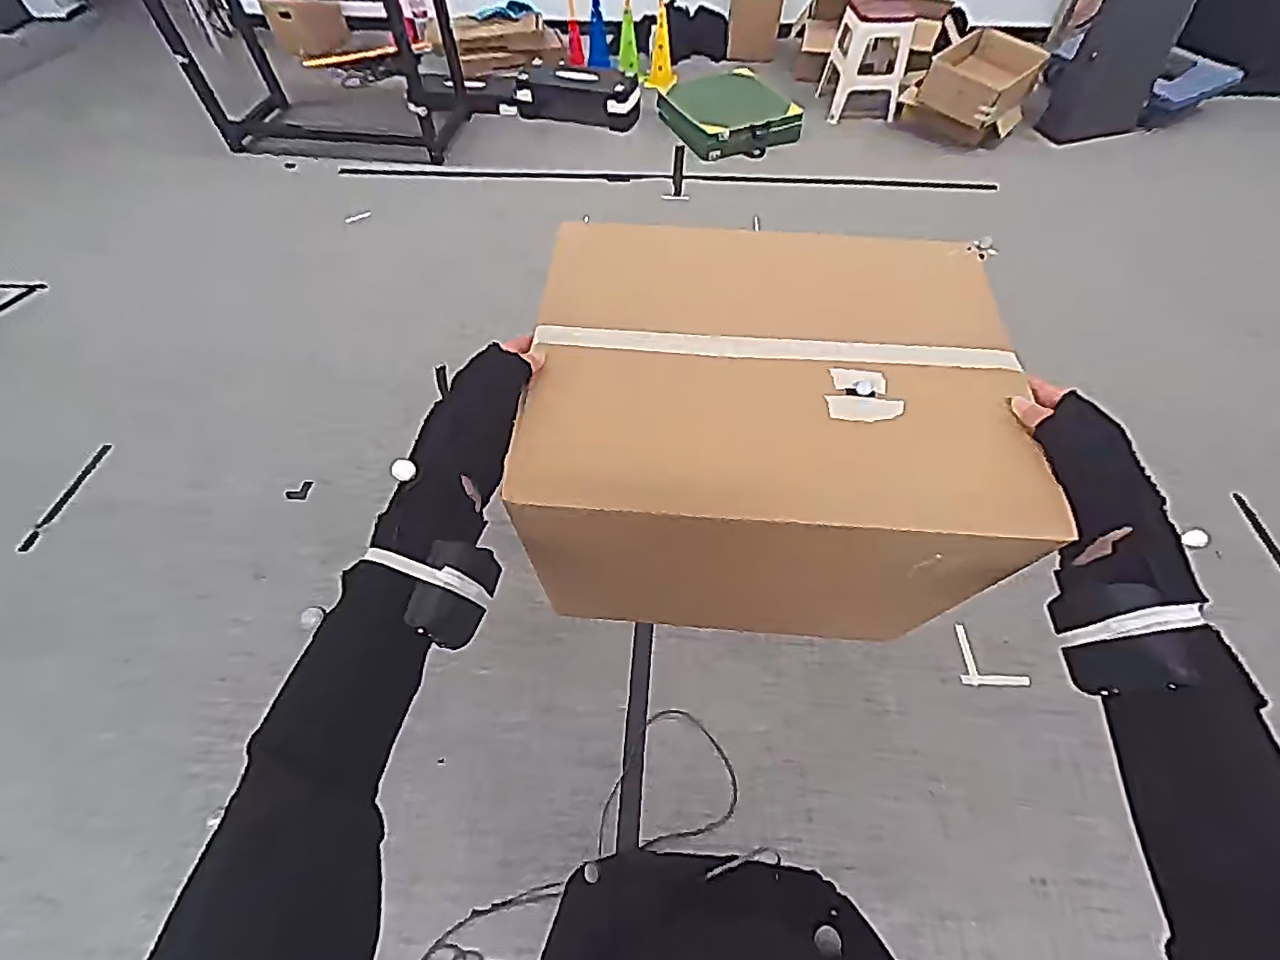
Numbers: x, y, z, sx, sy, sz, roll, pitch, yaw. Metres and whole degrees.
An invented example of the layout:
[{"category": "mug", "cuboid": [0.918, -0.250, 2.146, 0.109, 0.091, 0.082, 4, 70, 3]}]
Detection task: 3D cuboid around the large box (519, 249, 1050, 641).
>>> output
[{"category": "large box", "cuboid": [0.110, -0.020, 0.601, 0.408, 0.320, 0.320, 4, 61, 1]}]
